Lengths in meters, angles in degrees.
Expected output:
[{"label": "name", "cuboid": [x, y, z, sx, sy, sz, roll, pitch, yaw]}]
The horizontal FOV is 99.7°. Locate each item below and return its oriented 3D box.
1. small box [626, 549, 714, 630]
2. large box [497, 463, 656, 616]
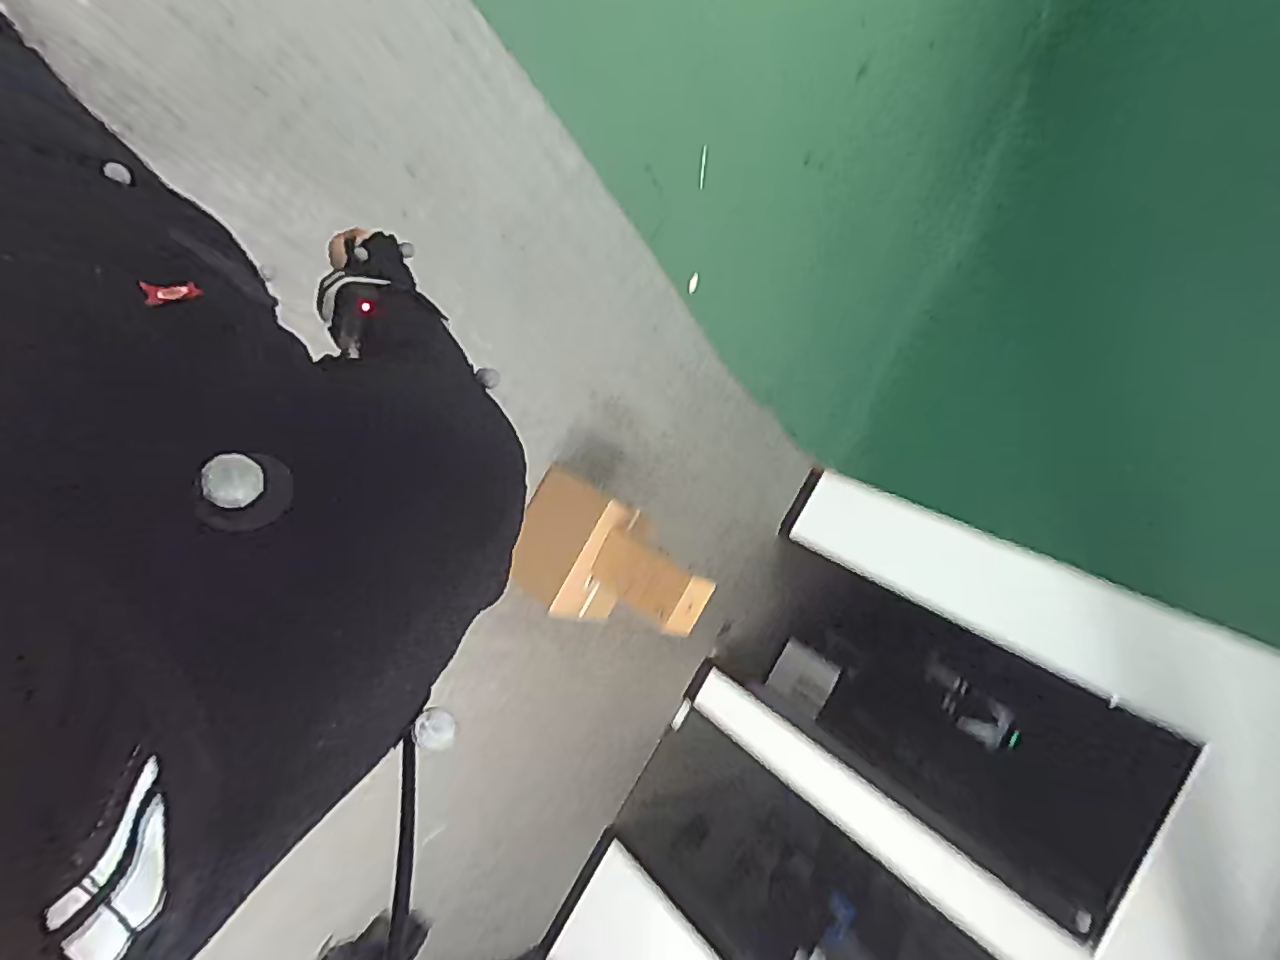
[{"label": "small box", "cuboid": [0.088, 0.328, 1.636, 0.168, 0.176, 0.179, 28, 92, -53]}, {"label": "large box", "cuboid": [-0.218, 0.207, 1.880, 0.320, 0.320, 0.408, 29, 91, -52]}]
